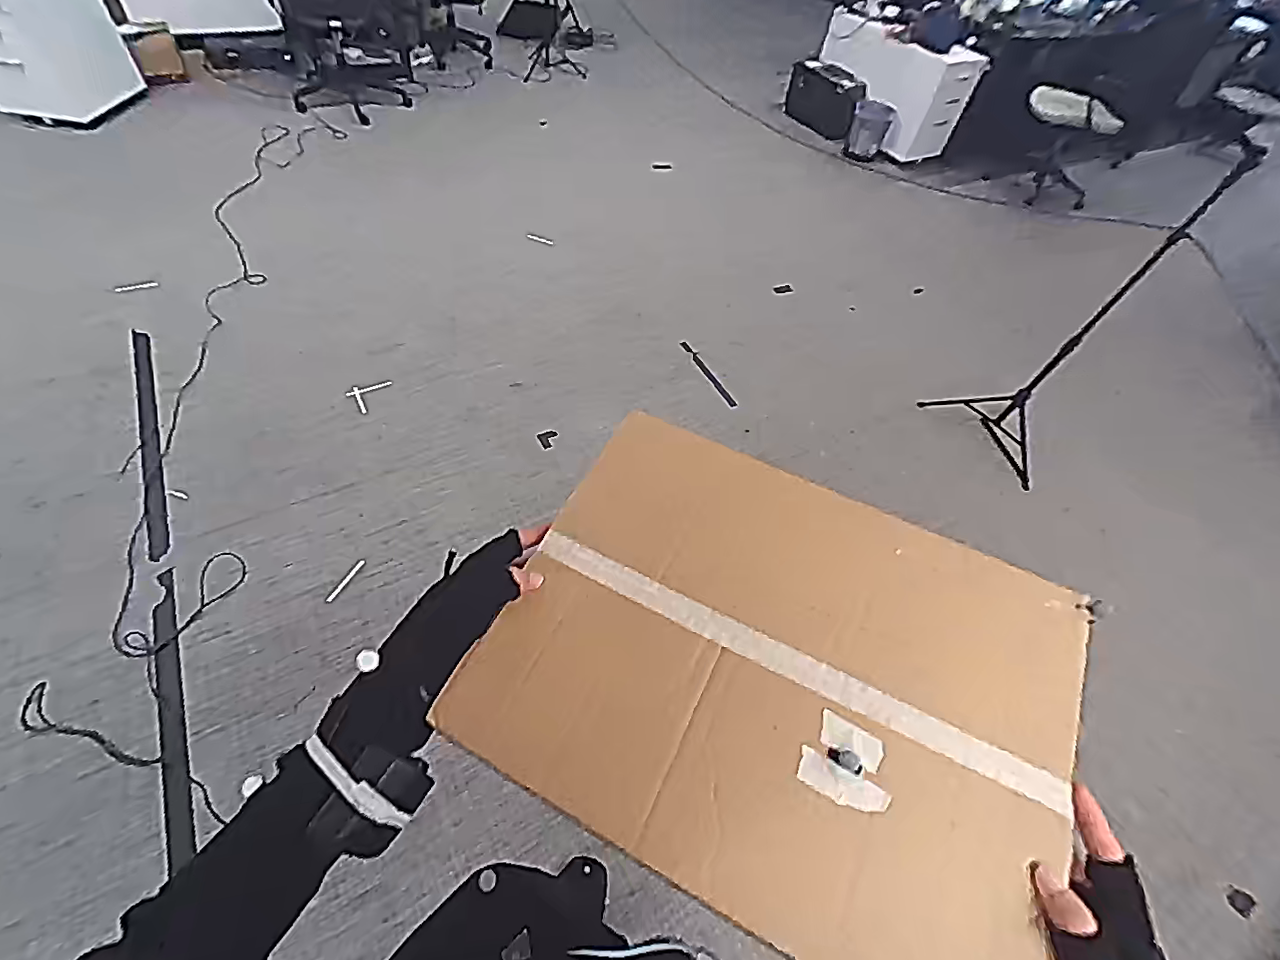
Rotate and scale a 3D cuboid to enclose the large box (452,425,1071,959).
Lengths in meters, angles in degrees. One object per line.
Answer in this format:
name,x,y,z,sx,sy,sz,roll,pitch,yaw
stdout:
large box,0.103,0.211,0.542,0.408,0.320,0.320,25,63,14
